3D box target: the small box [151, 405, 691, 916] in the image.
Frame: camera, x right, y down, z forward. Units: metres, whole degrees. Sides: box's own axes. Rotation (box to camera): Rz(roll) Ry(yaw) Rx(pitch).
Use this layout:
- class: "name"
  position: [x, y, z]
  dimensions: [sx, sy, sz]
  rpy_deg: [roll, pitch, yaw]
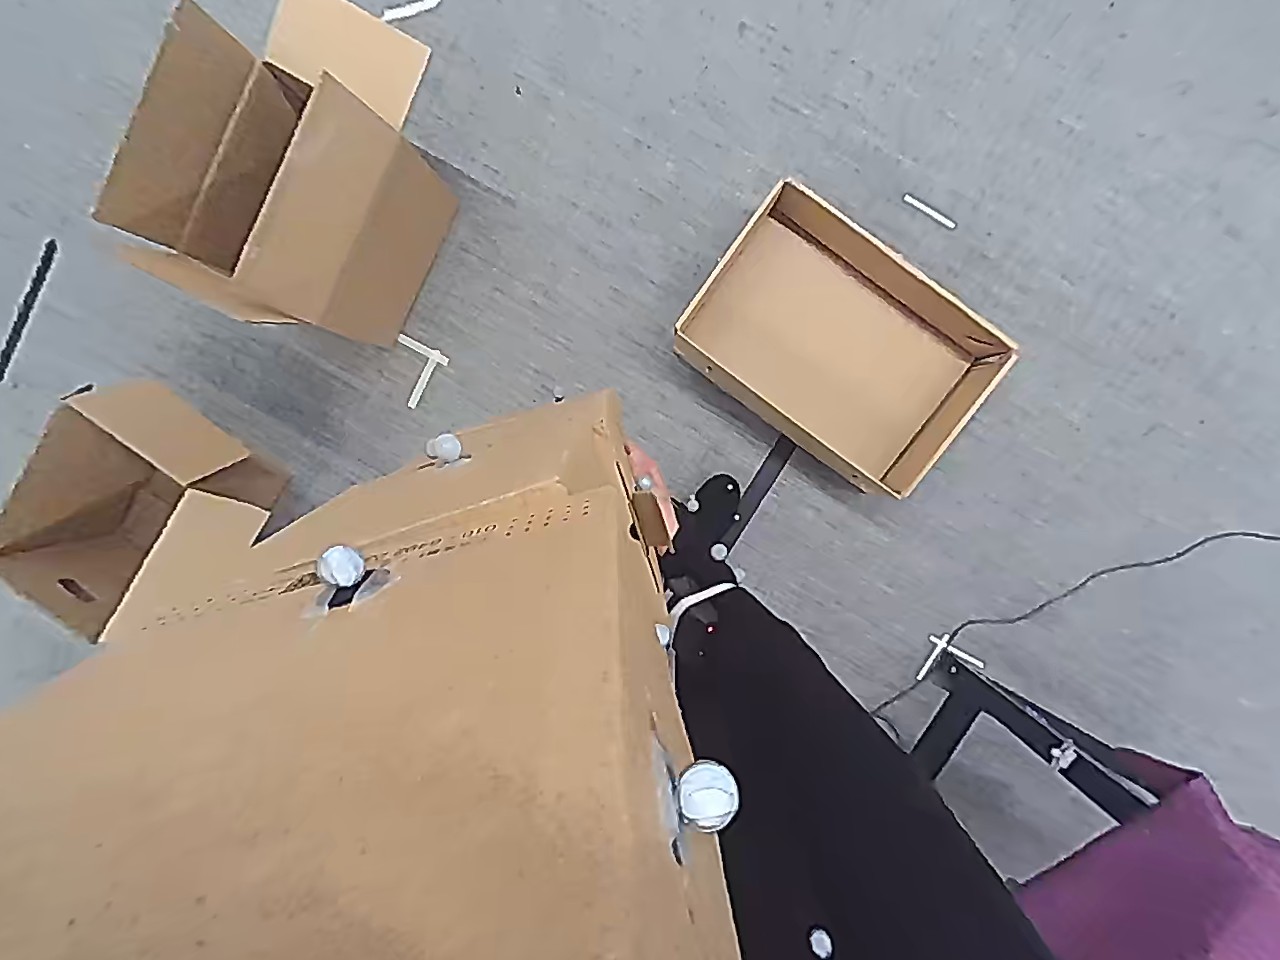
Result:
- class: "small box"
  position: [-0.080, 0.072, 0.293]
  dimensions: [0.168, 0.176, 0.179]
  rpy_deg: [-18, 104, 2]

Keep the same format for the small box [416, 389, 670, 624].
- class: "small box"
  position: [-0.084, 0.031, 0.452]
  dimensions: [0.179, 0.176, 0.168]
  rpy_deg: [-17, 106, 1]

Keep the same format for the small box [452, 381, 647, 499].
- class: "small box"
  position: [-0.086, -0.008, 0.615]
  dimensions: [0.168, 0.176, 0.179]
  rpy_deg: [-13, 102, 2]
